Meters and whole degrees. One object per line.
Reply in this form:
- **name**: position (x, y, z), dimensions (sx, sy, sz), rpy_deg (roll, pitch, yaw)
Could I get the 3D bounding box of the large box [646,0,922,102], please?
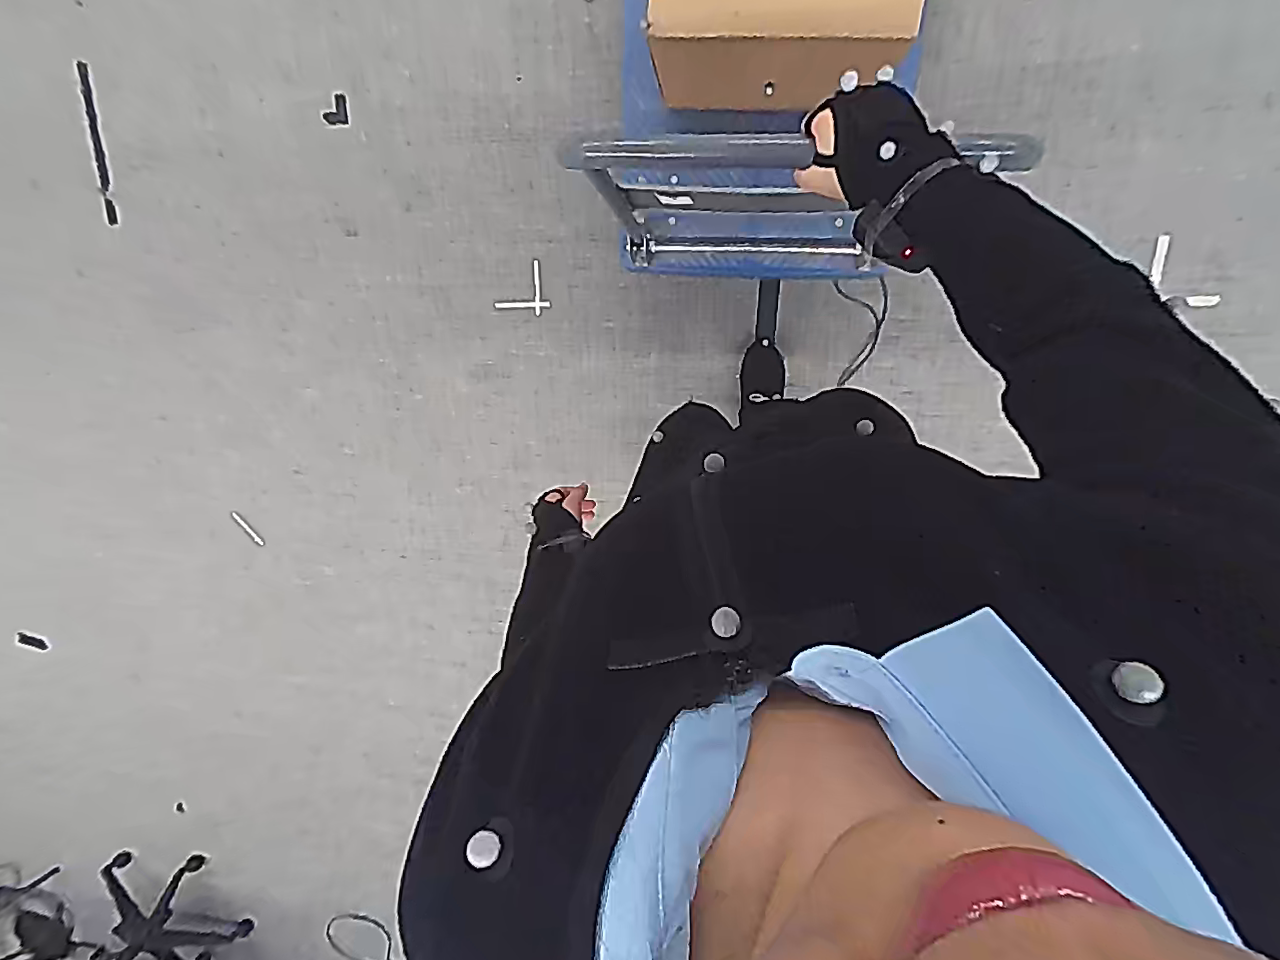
- **large box**: position (0.238, -0.861, 0.899), dimensions (0.408, 0.320, 0.320), rpy_deg (6, 106, 8)
